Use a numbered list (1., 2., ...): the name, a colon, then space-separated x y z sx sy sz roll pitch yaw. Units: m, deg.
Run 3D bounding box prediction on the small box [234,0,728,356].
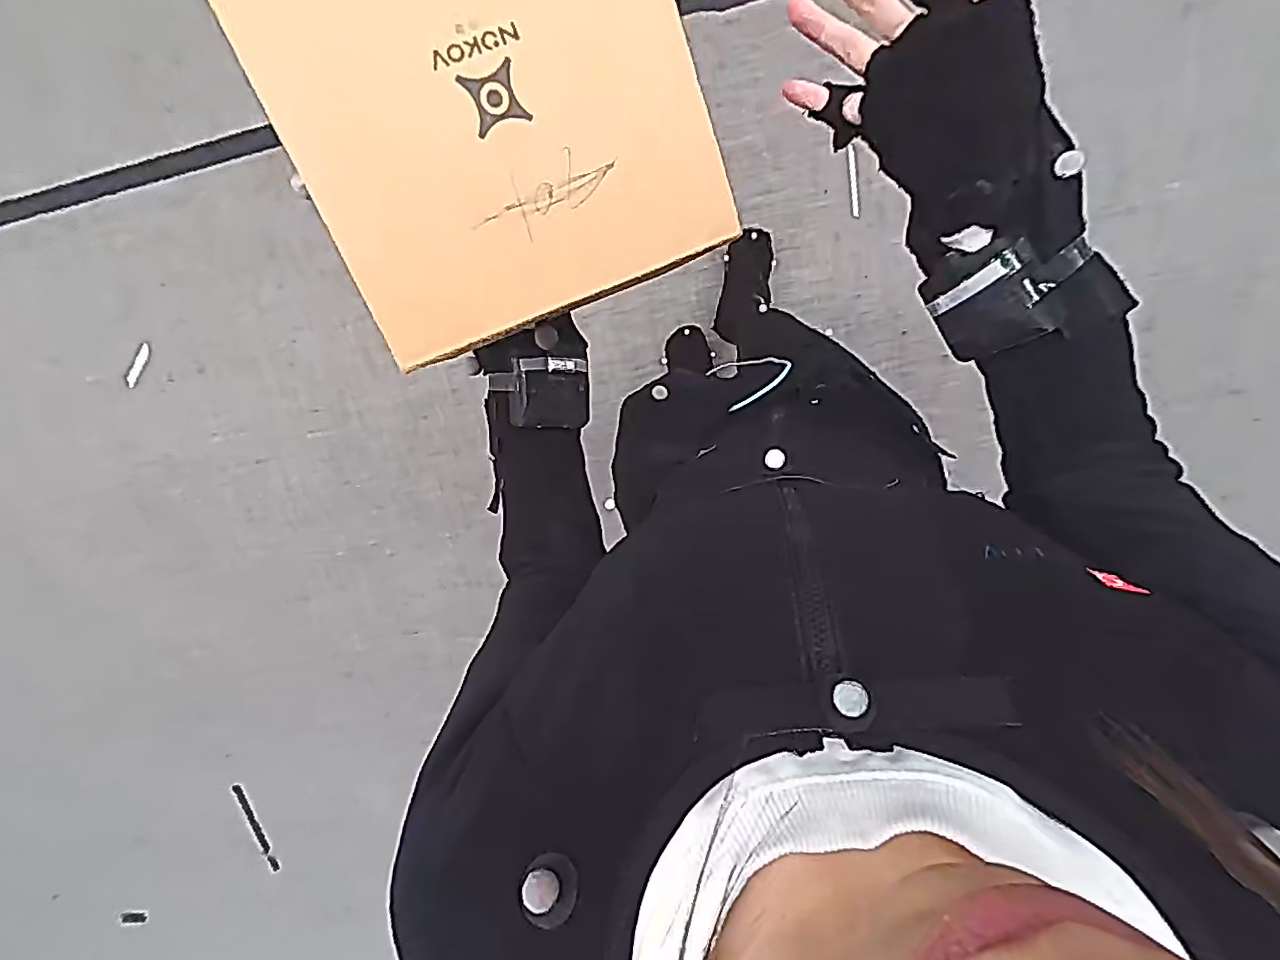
1. small box: -0.075 -0.181 0.306 0.168 0.176 0.179 -23 107 -3
